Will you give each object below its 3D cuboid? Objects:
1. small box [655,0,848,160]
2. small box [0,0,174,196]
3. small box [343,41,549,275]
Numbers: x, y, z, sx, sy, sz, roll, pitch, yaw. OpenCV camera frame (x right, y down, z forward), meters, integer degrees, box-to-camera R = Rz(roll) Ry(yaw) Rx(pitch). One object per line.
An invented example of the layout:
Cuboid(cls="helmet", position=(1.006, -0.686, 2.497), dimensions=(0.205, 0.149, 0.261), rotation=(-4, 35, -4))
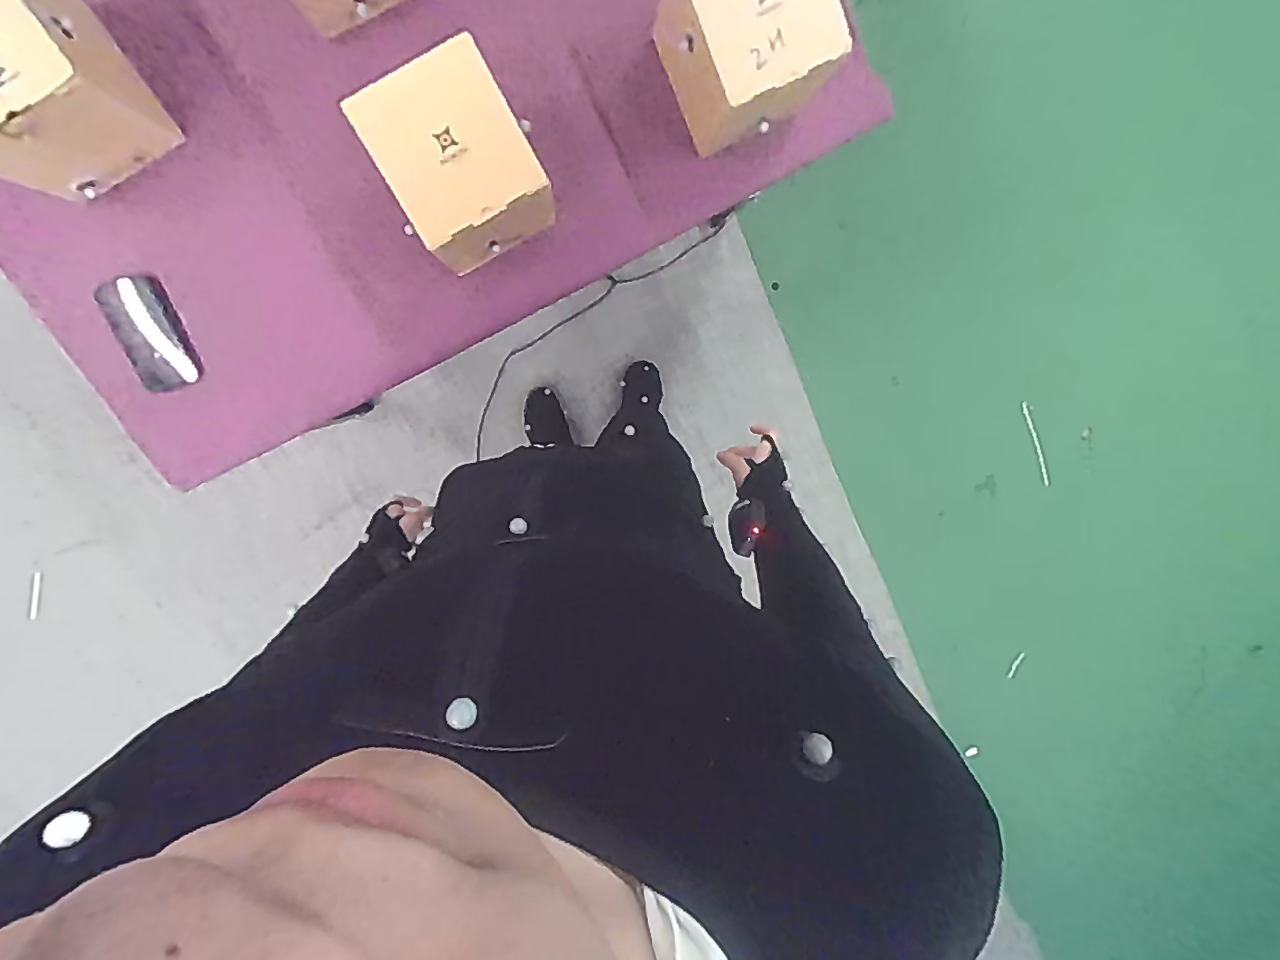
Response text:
Cuboid(cls="small box", position=(0.132, -0.562, 0.703), dimensions=(0.168, 0.176, 0.179), rotation=(-26, 104, -1))
Cuboid(cls="small box", position=(-0.701, -0.452, 0.612), dimensions=(0.168, 0.176, 0.179), rotation=(-32, 103, -1))
Cuboid(cls="small box", position=(-0.230, -0.390, 0.692), dimensions=(0.168, 0.176, 0.179), rotation=(-30, 104, -1))
